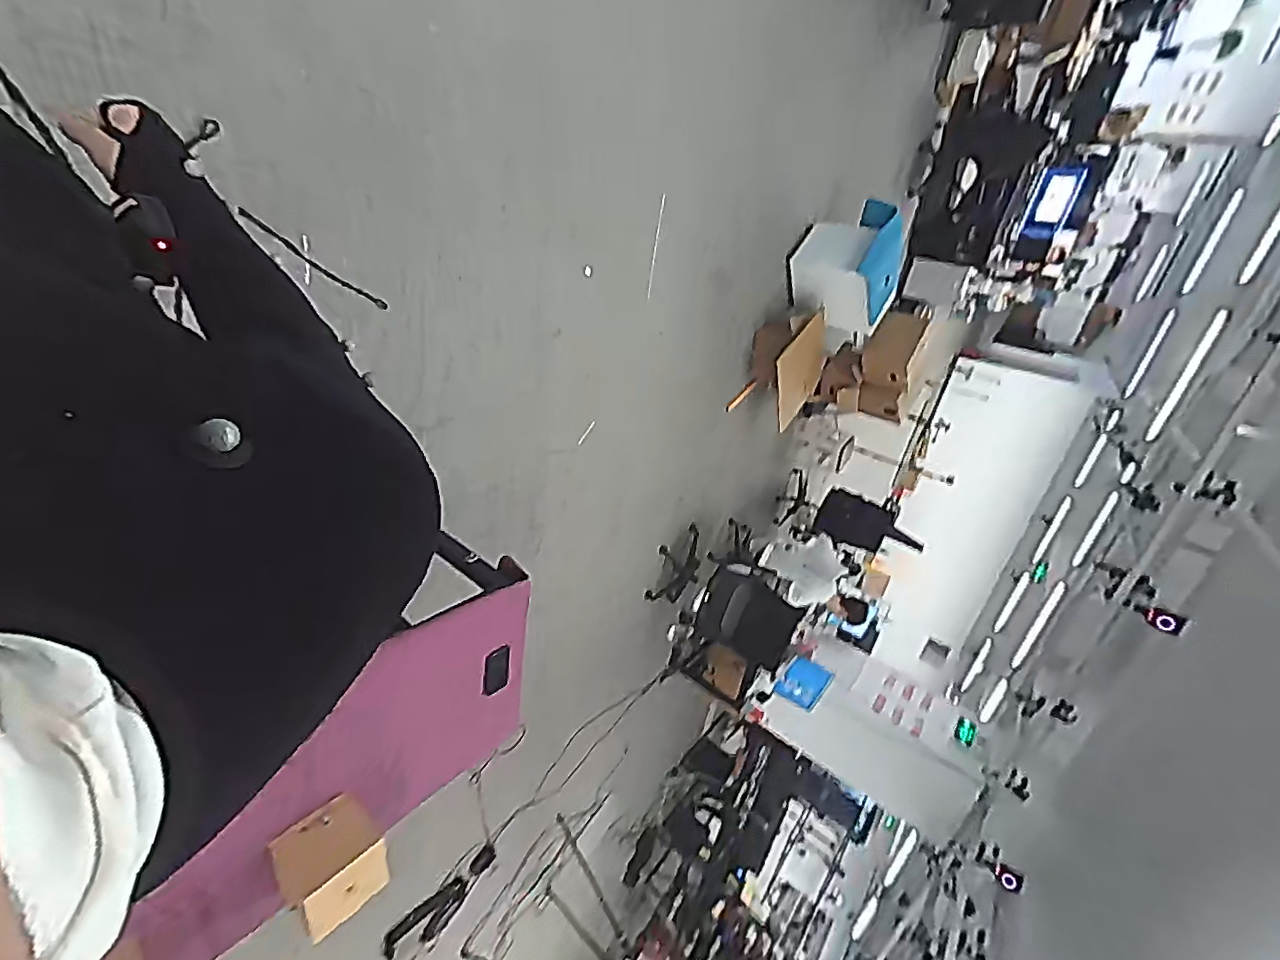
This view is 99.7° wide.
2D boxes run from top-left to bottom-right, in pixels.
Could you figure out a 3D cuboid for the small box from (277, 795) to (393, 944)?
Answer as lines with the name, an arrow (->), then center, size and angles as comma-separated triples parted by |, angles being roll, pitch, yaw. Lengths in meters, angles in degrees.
small box -> -0.674, 0.852, 1.202 | 0.168, 0.176, 0.179 | -24, 130, -49
